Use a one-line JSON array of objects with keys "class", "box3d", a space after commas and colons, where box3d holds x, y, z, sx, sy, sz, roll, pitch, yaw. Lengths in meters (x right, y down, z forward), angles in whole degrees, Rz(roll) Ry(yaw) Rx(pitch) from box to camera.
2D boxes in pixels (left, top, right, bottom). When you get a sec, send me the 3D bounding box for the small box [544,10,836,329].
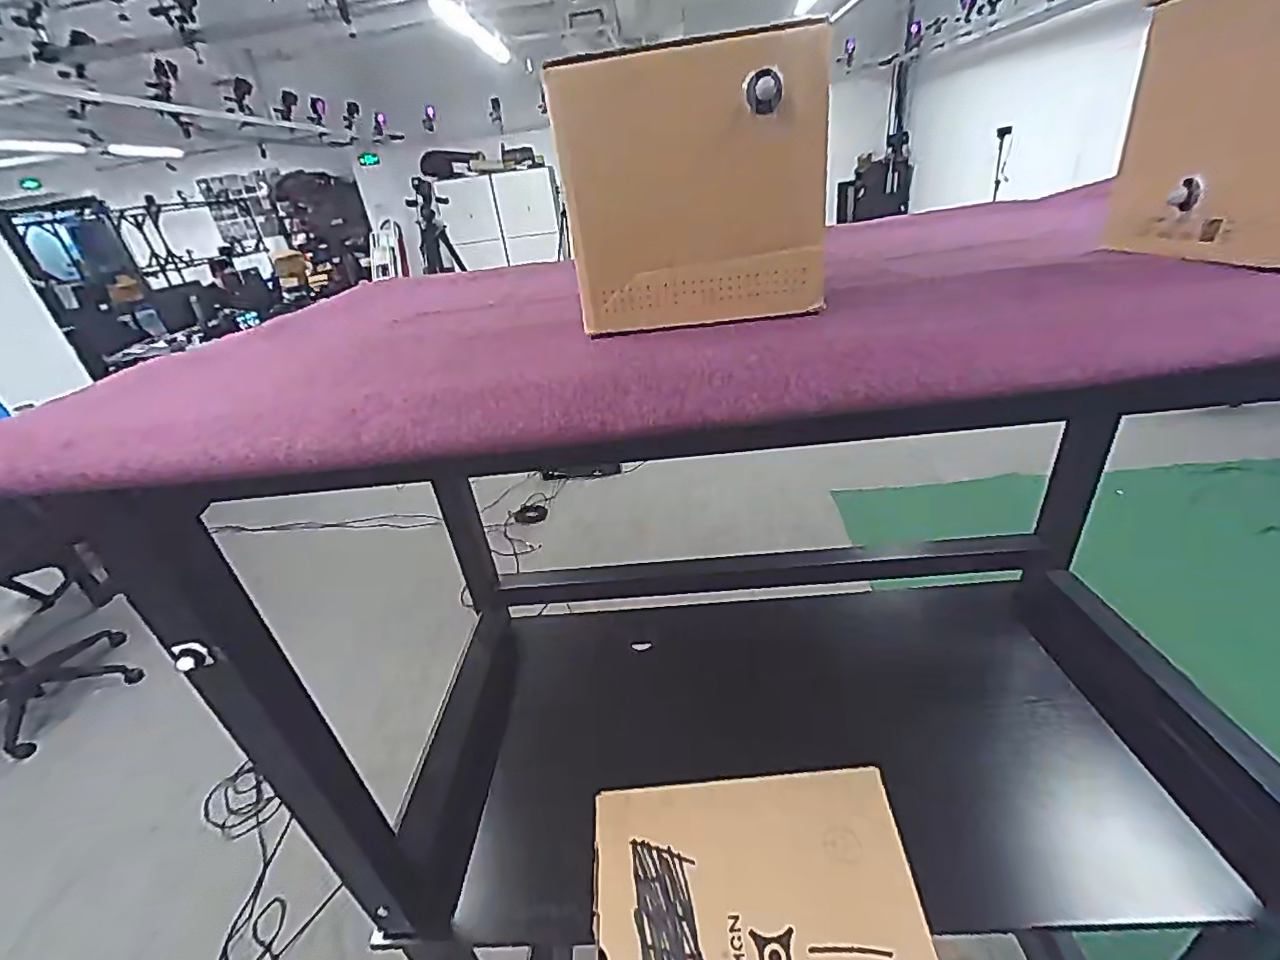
[{"class": "small box", "box3d": [0.041, -0.221, 0.420, 0.179, 0.176, 0.168, -4, 28, 6]}]
